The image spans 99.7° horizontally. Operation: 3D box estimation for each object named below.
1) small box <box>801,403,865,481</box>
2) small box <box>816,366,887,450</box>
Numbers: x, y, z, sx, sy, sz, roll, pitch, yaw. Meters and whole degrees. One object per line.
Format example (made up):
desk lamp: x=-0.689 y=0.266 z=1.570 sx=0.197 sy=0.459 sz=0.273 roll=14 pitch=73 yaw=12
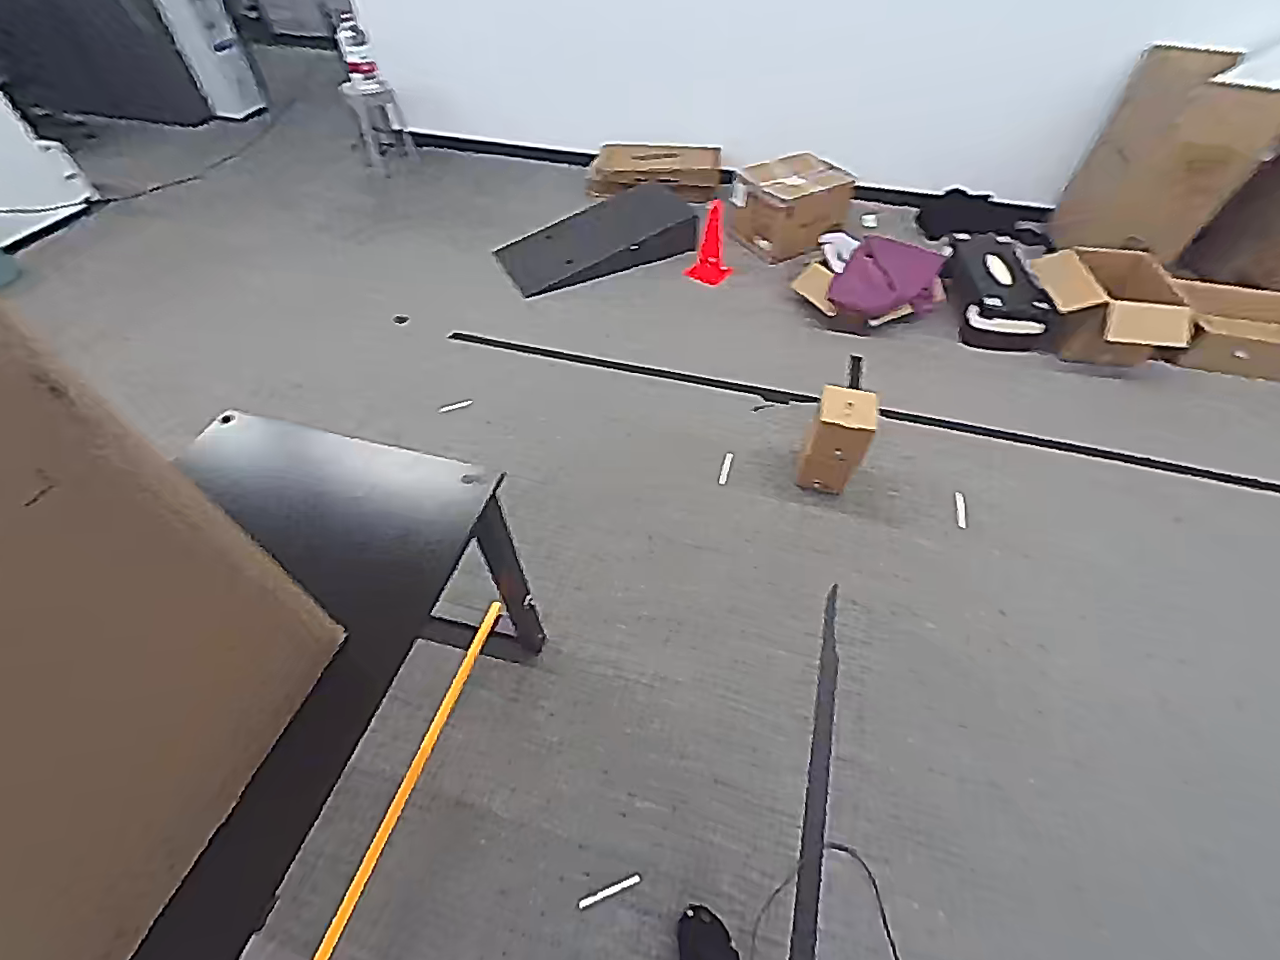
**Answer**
small box: x=0.642 y=-0.125 z=1.801 sx=0.168 sy=0.176 sz=0.179 roll=11 pitch=53 yaw=9
small box: x=0.648 y=-0.221 z=1.667 sx=0.168 sy=0.176 sz=0.179 roll=11 pitch=52 yaw=10
